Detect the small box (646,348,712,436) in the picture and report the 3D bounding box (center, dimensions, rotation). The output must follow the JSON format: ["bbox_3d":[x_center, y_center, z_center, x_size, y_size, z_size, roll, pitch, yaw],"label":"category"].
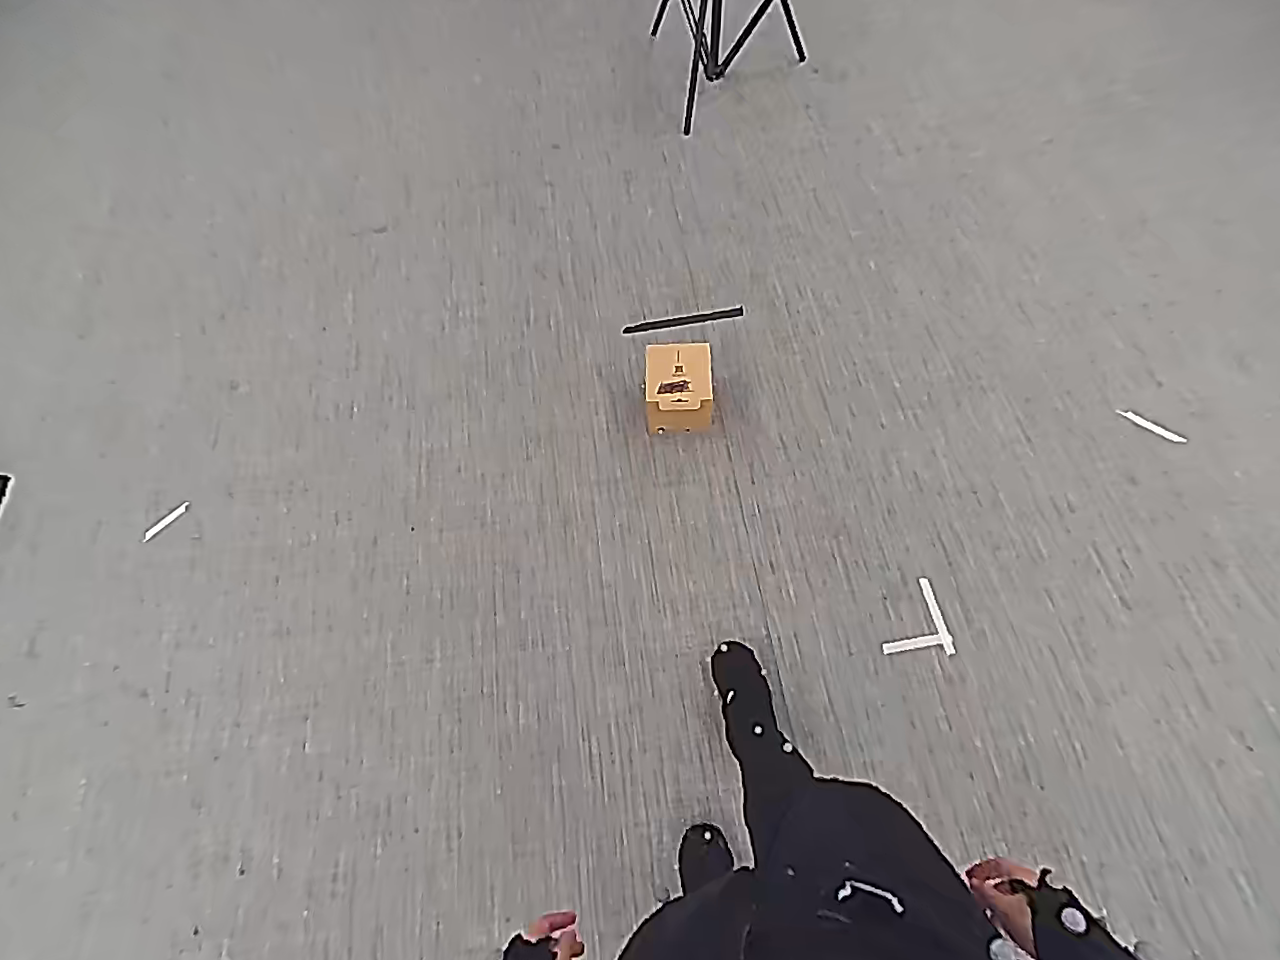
[{"bbox_3d":[0.103,-0.225,1.426,0.168,0.176,0.179,-1,66,4],"label":"small box"}]
